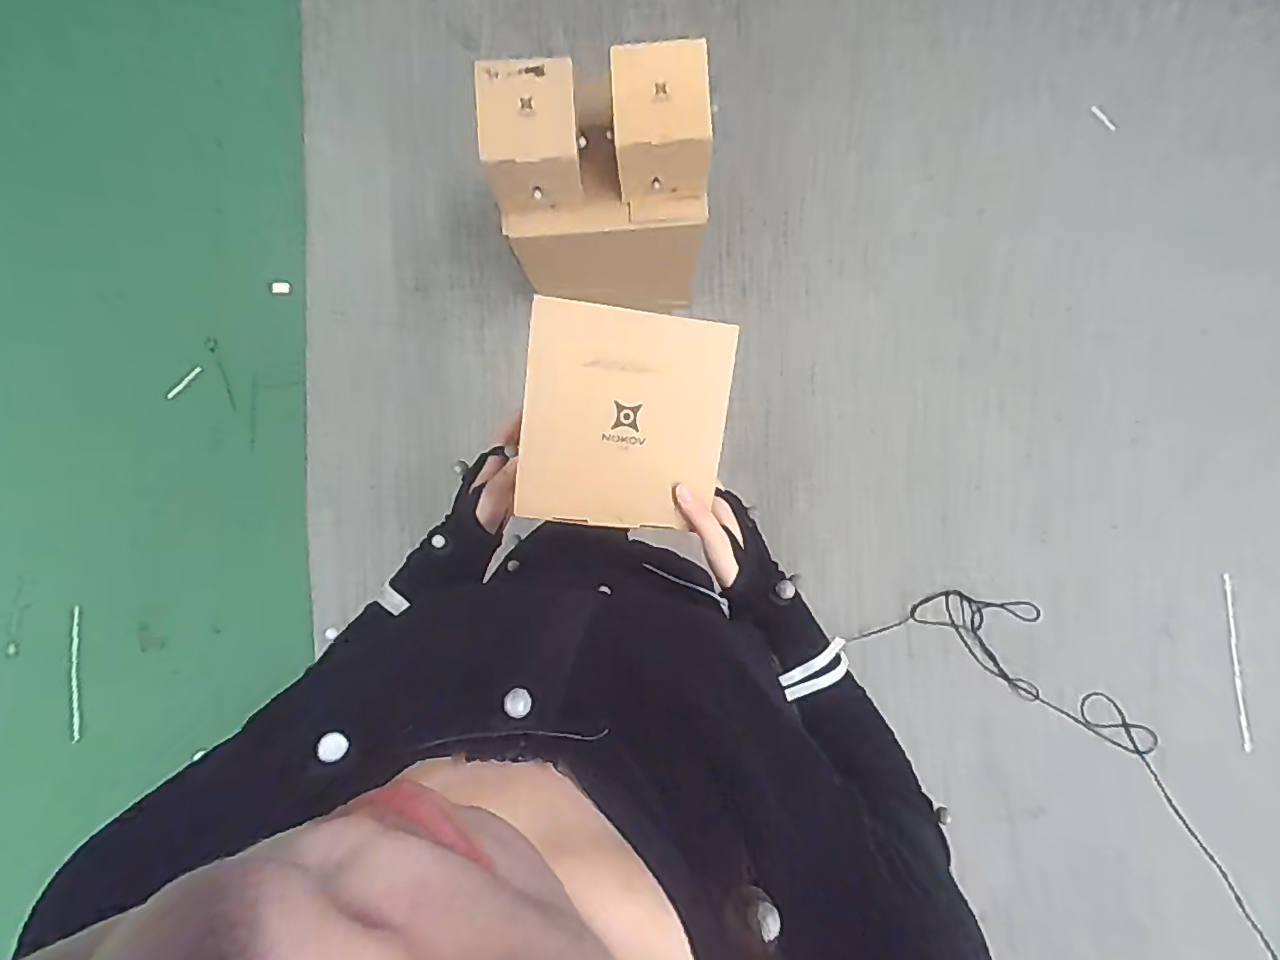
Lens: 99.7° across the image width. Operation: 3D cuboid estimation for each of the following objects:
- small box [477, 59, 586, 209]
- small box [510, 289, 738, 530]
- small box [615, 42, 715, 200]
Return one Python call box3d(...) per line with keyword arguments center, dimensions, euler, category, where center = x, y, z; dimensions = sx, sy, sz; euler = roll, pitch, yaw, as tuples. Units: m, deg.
box3d(center=(-0.189, -0.615, 0.984), dimensions=(0.168, 0.176, 0.179), euler=(-3, 89, -1), category="small box")
box3d(center=(-0.024, -0.066, 0.512), dimensions=(0.168, 0.176, 0.179), euler=(7, 99, -10), category="small box")
box3d(center=(0.041, -0.643, 0.984), dimensions=(0.168, 0.176, 0.179), euler=(-3, 88, 1), category="small box")
